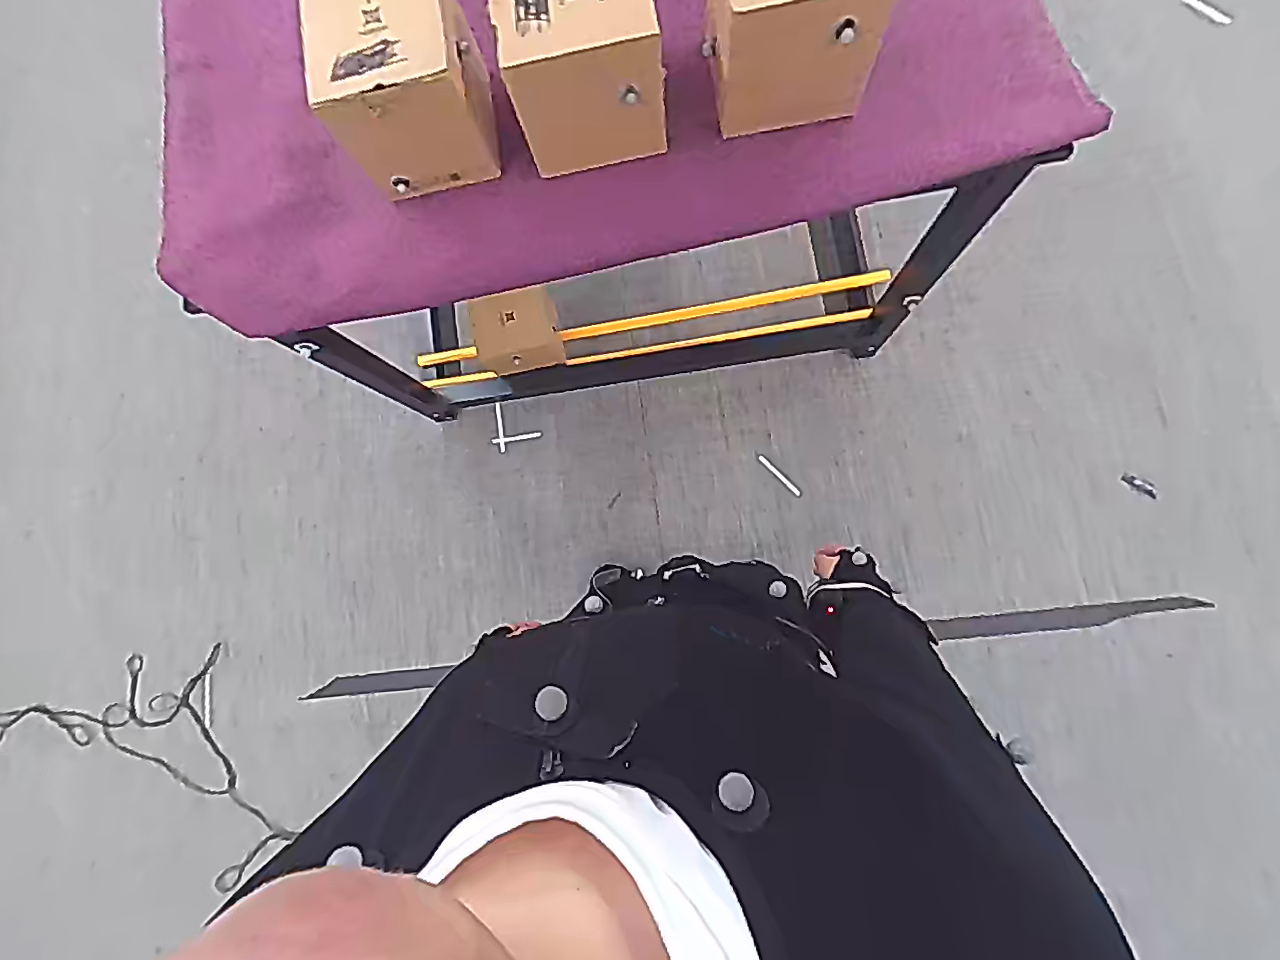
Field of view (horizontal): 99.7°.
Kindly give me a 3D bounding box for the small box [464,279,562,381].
[{"bbox_3d":[-0.294,-0.350,1.290,0.179,0.176,0.168,-13,83,4],"label":"small box"}]
